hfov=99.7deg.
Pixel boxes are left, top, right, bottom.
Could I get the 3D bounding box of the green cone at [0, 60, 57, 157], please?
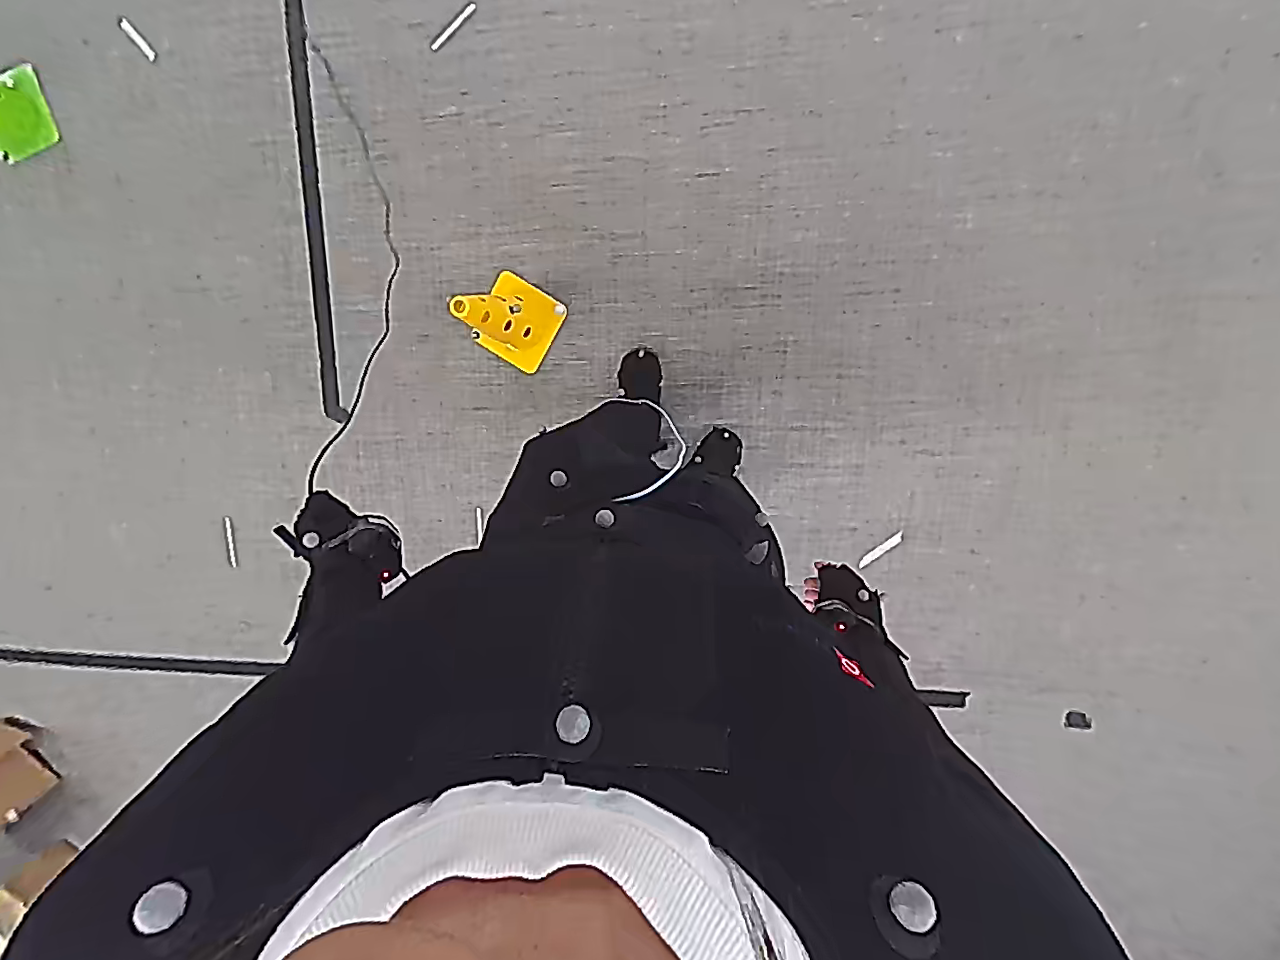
[{"bbox_3d":[-1.713,-0.978,1.301,0.200,0.368,0.202,-15,97,9],"label":"green cone"}]
